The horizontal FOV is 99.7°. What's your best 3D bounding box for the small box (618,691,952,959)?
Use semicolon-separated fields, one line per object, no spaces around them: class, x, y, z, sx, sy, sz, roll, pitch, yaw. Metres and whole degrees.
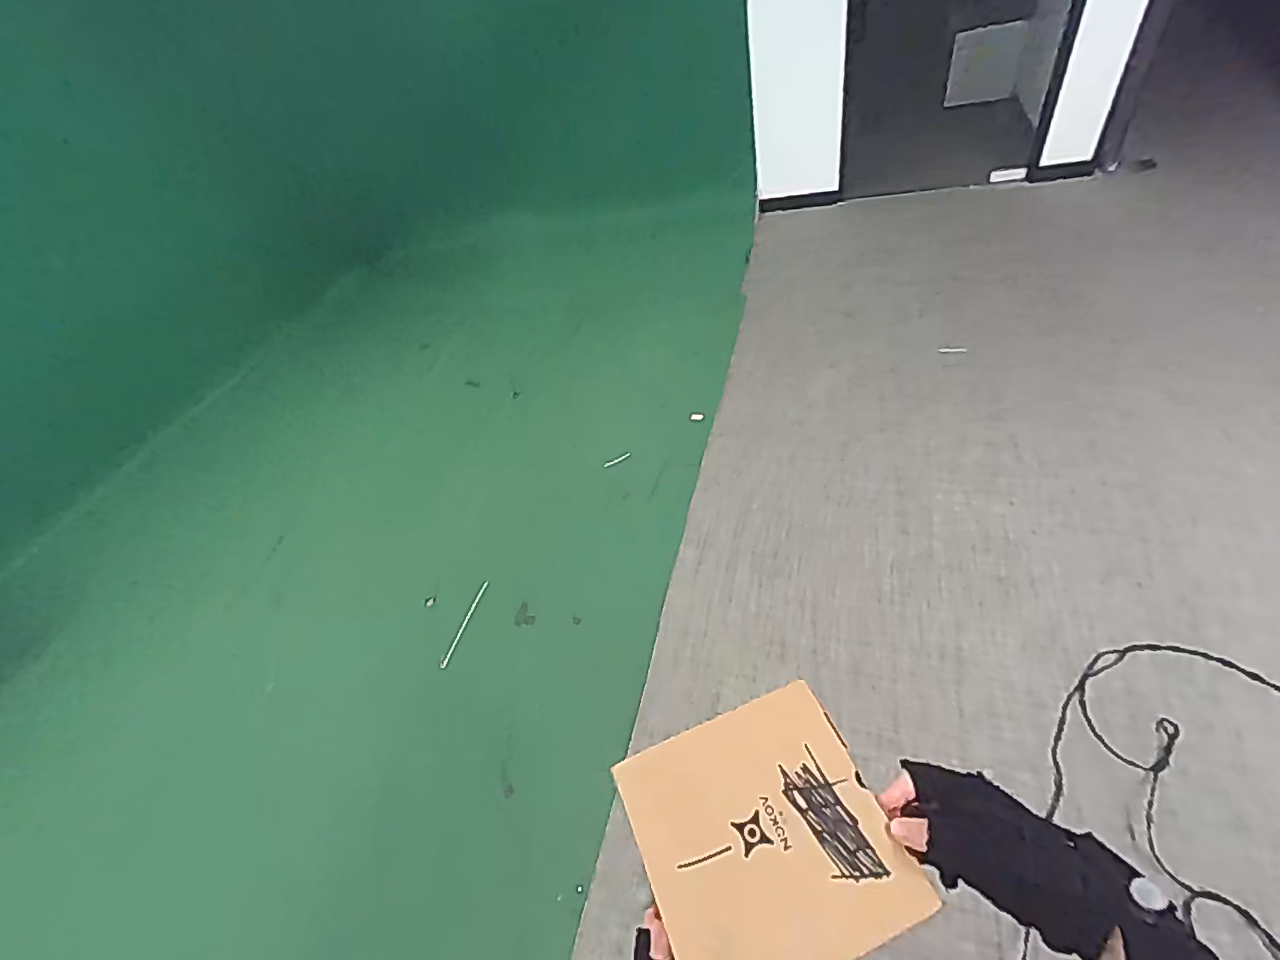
small box;0.096;0.304;0.434;0.179;0.176;0.168;-20;49;-11
